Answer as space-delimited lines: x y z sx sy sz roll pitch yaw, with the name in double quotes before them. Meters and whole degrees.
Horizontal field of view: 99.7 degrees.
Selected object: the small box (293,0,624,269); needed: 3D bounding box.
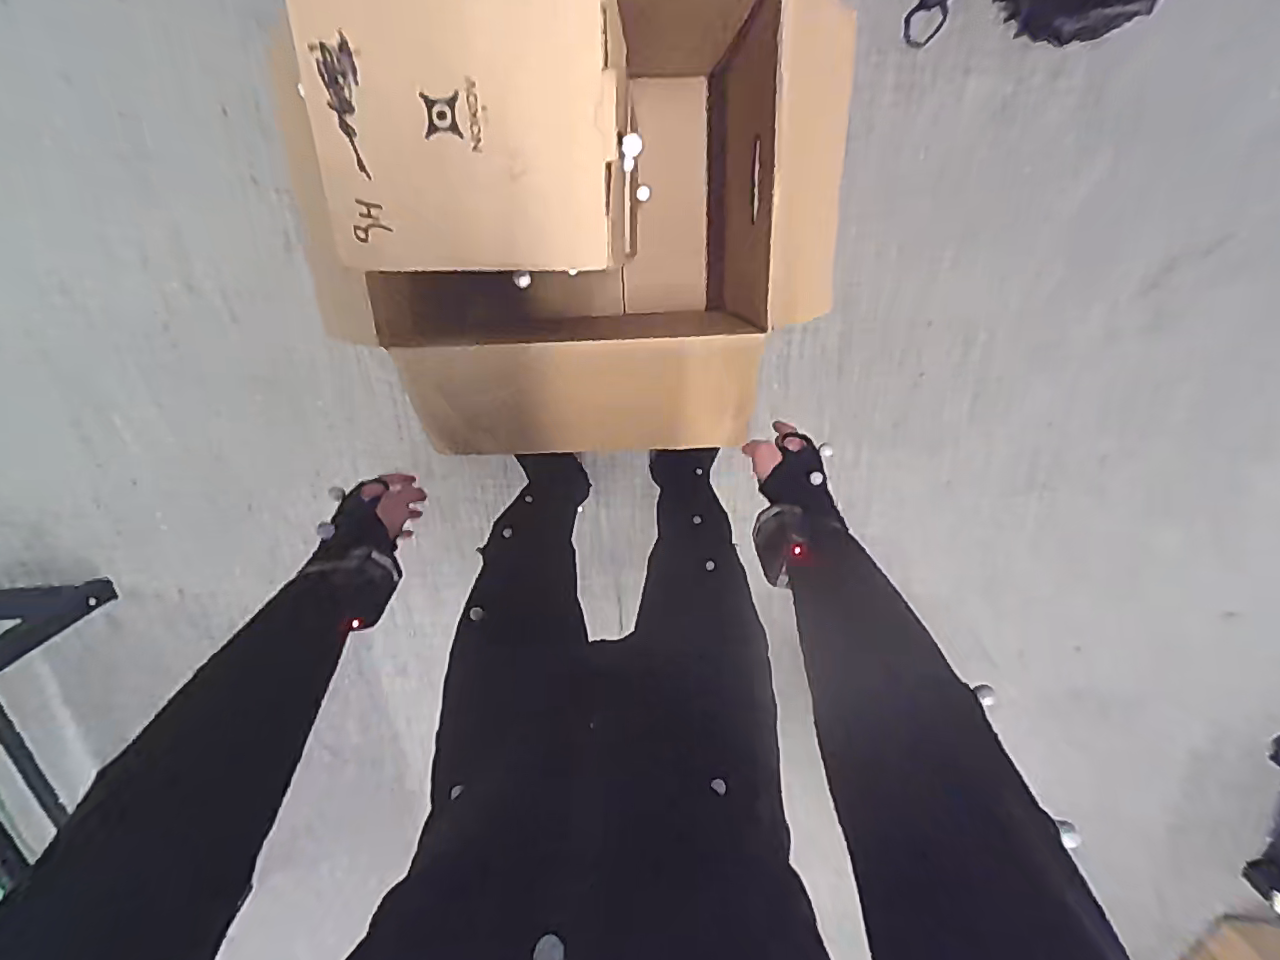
"small box" -0.099 -0.242 0.382 0.179 0.176 0.168 0 113 1
